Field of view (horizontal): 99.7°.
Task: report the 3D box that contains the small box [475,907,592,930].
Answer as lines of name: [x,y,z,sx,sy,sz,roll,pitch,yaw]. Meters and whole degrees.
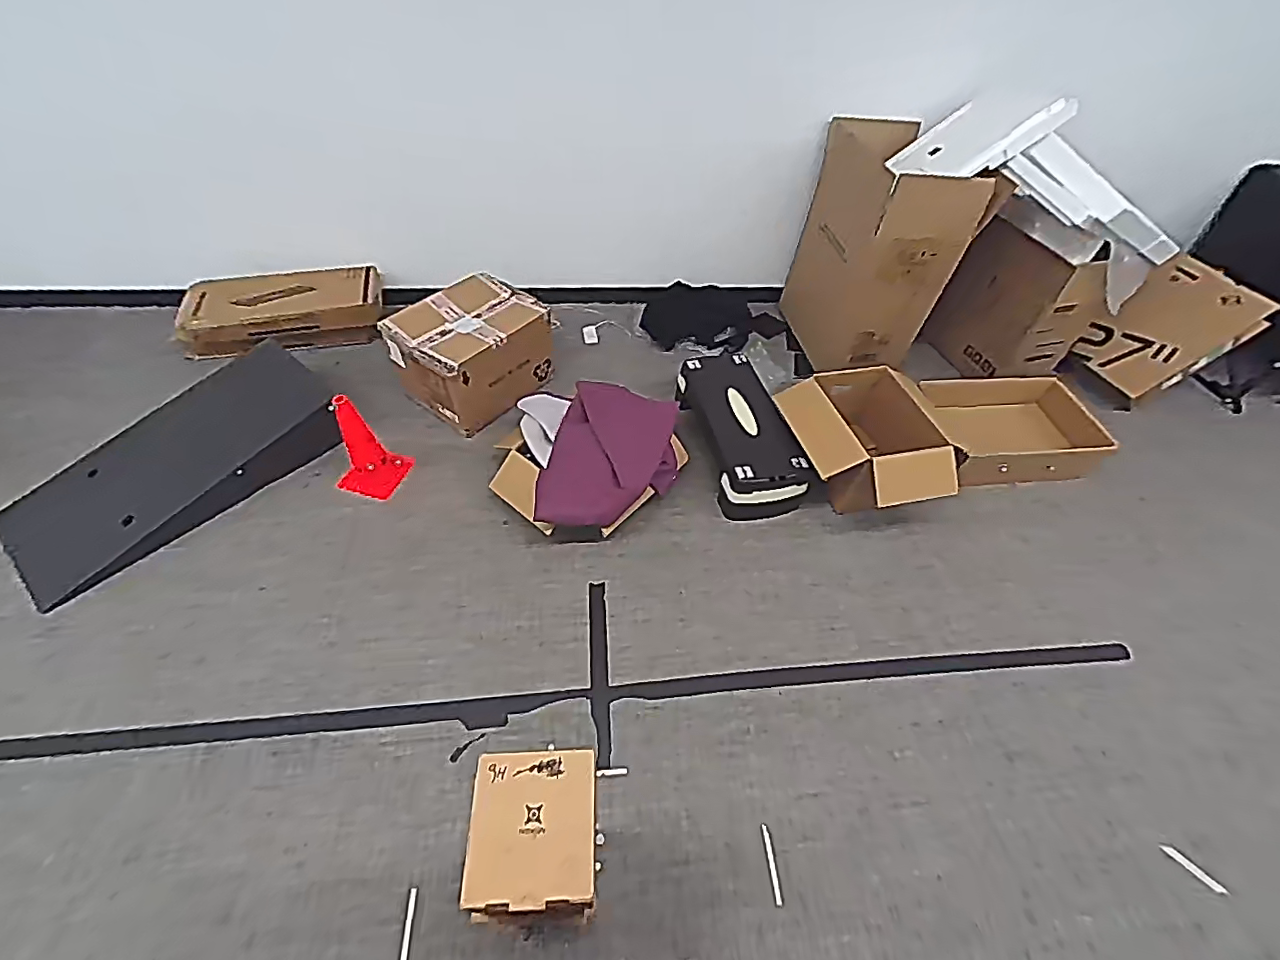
small box: [-0.158,0.621,0.885,0.168,0.176,0.179,2,51,-2]

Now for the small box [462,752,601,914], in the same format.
small box: [-0.141,0.504,0.770,0.168,0.176,0.179,0,50,-4]
